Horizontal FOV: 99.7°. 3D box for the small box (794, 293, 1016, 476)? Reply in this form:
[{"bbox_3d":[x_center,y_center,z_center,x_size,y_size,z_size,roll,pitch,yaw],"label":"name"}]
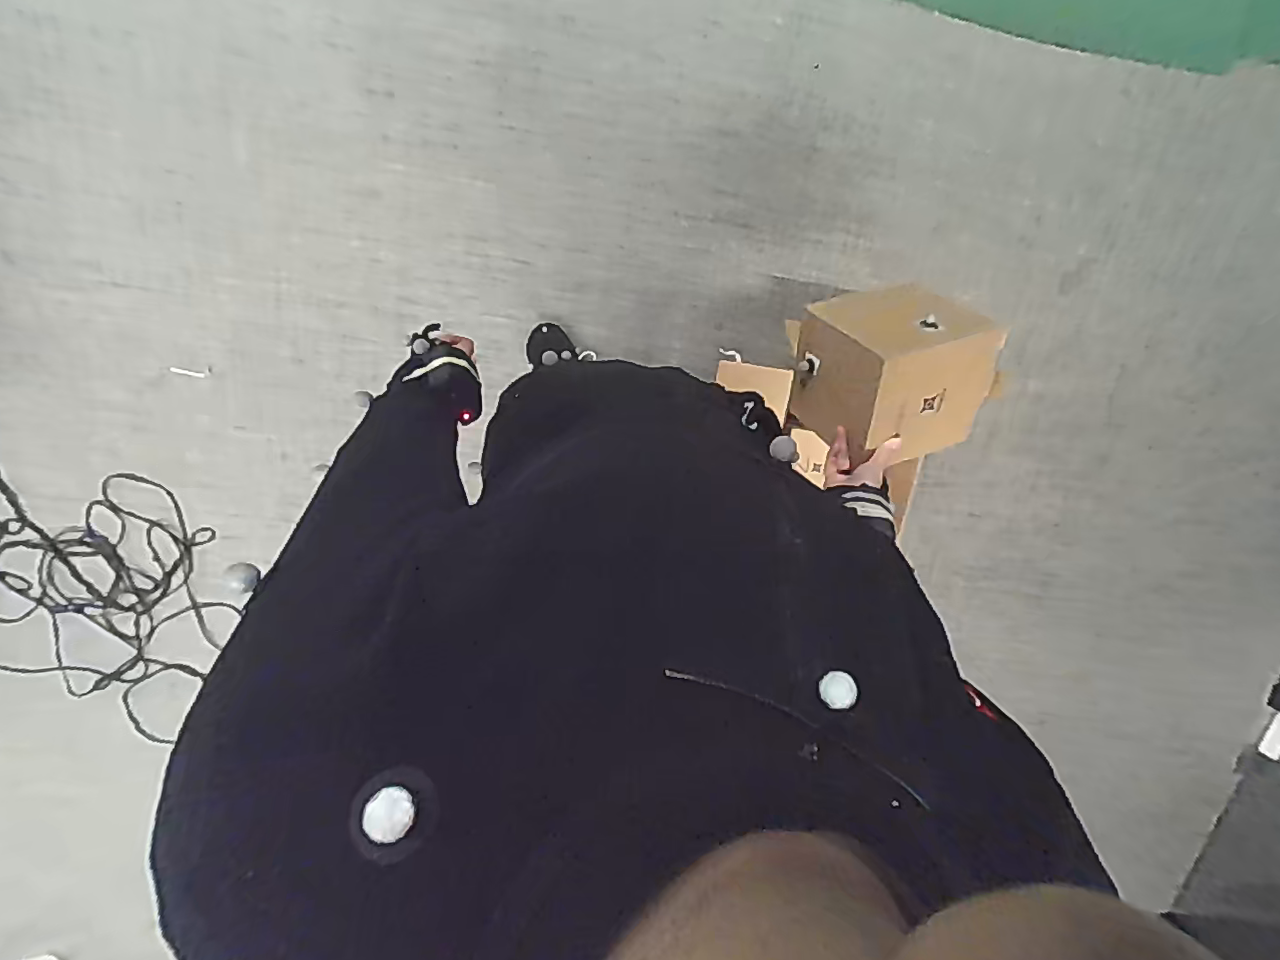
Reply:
[{"bbox_3d":[0.322,-0.131,0.691,0.179,0.176,0.168,-14,122,-11],"label":"small box"}]
